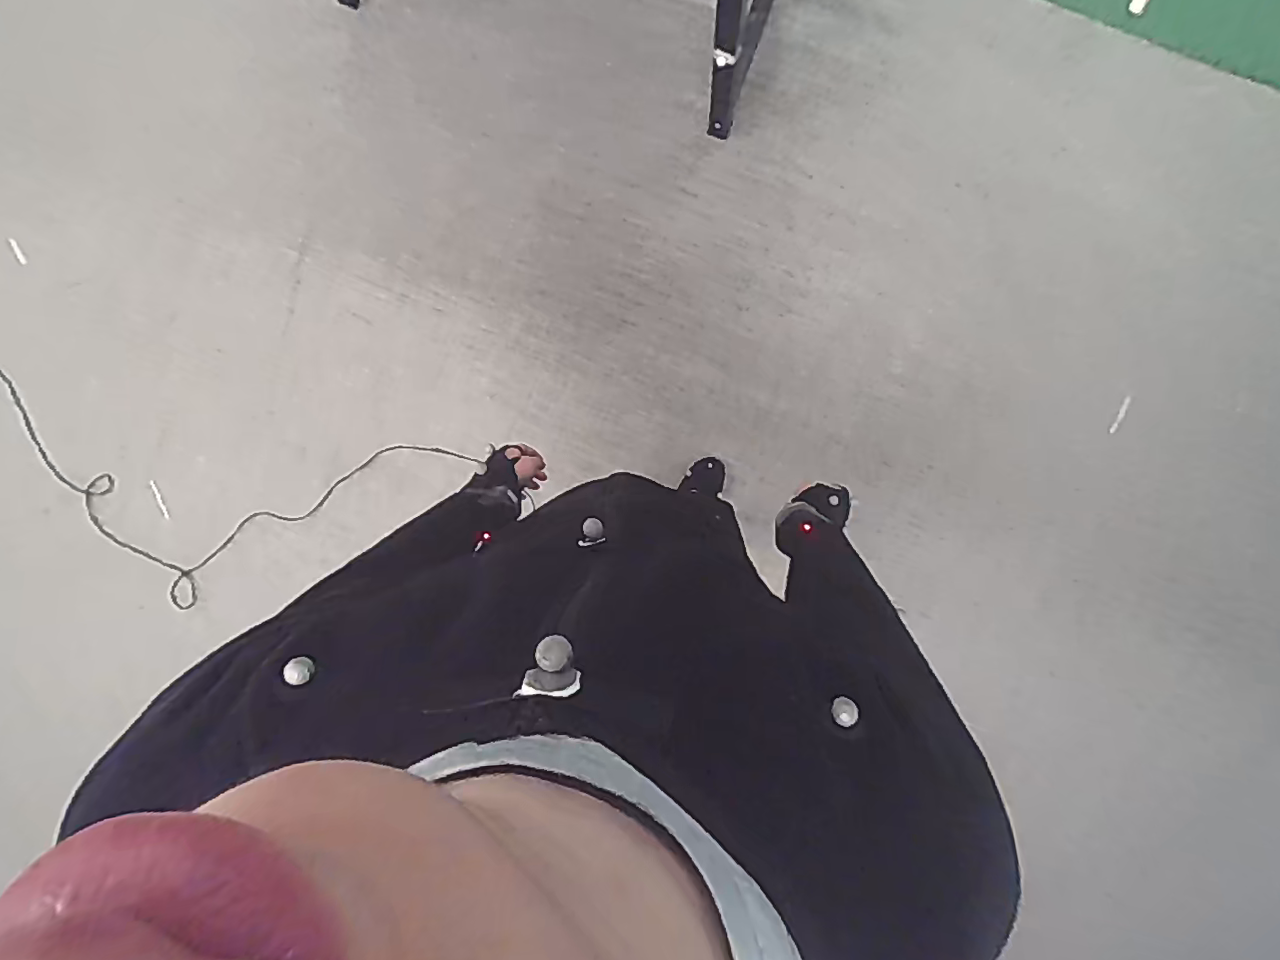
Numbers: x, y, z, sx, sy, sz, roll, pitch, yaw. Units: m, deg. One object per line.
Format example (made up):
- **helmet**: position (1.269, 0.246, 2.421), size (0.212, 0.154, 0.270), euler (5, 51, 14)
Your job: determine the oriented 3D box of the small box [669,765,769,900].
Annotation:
- **small box**: position (0.169, 0.771, 1.203), size (0.179, 0.176, 0.168), euler (13, 97, 3)
